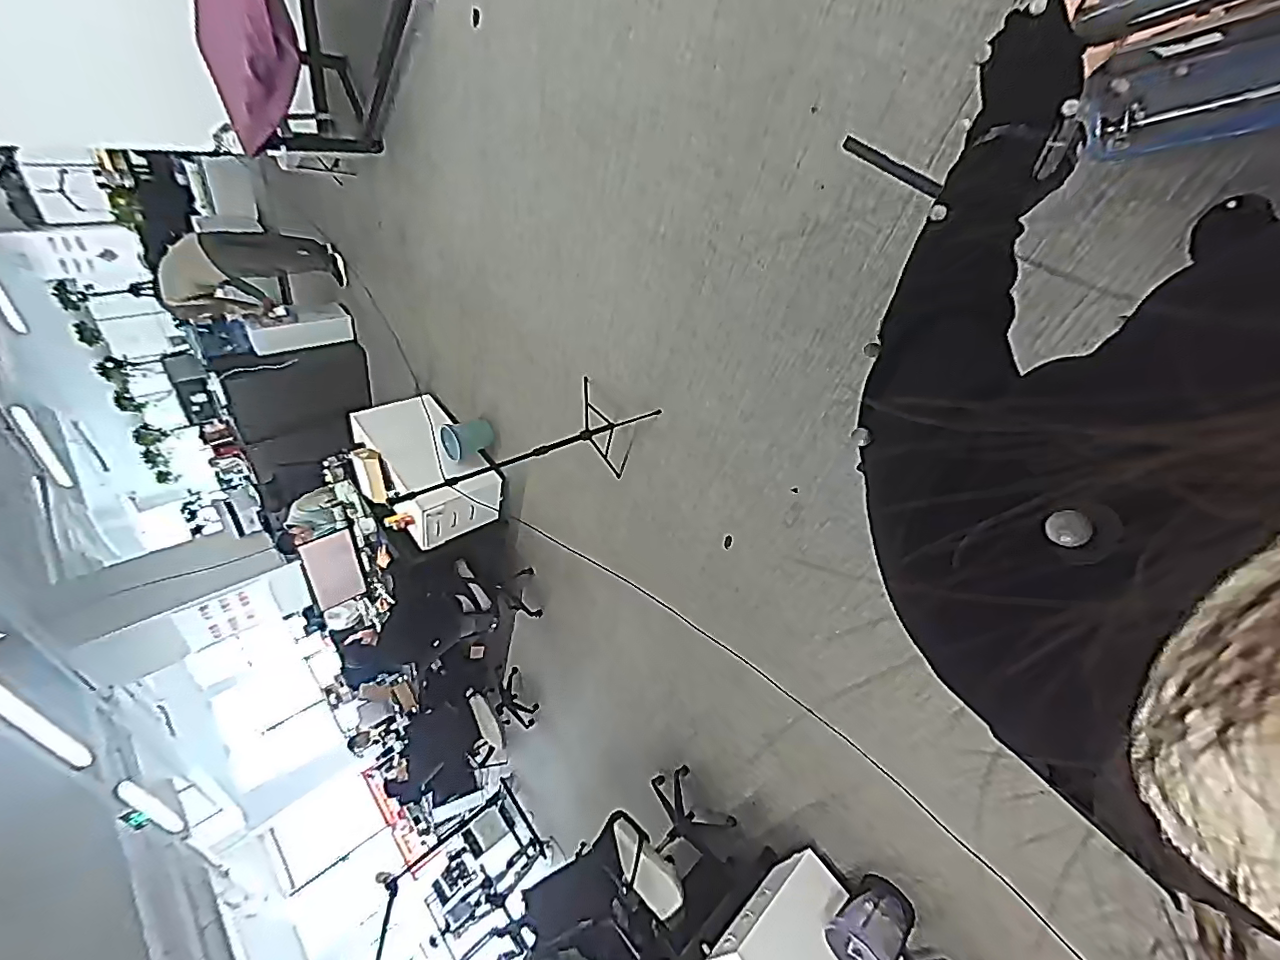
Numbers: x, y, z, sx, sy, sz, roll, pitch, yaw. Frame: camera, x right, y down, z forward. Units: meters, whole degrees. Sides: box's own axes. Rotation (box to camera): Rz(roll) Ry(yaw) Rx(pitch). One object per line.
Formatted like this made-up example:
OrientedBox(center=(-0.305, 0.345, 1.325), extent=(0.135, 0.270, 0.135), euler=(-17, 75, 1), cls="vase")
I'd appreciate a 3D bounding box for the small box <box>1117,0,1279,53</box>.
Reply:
OrientedBox(center=(0.783, -0.720, 0.740), extent=(0.168, 0.176, 0.179), euler=(8, 117, 47), cls="small box")
